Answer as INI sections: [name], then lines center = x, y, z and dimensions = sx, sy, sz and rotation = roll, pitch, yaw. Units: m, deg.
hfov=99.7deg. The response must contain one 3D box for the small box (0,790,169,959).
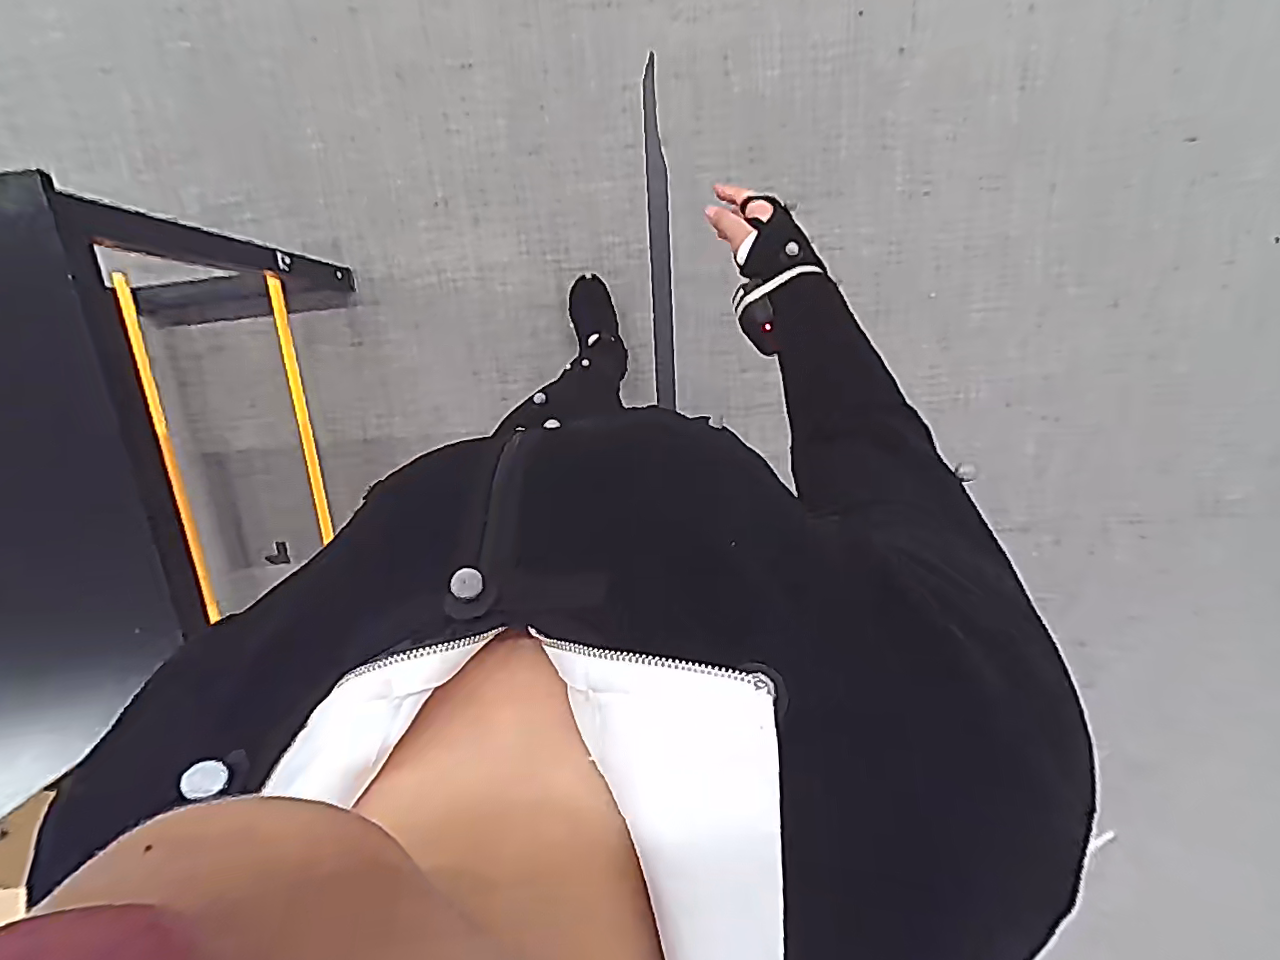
[small box]
center = -0.861, 0.587, 0.794
dimensions = 0.179, 0.176, 0.168
rotation = -3, 104, 1
